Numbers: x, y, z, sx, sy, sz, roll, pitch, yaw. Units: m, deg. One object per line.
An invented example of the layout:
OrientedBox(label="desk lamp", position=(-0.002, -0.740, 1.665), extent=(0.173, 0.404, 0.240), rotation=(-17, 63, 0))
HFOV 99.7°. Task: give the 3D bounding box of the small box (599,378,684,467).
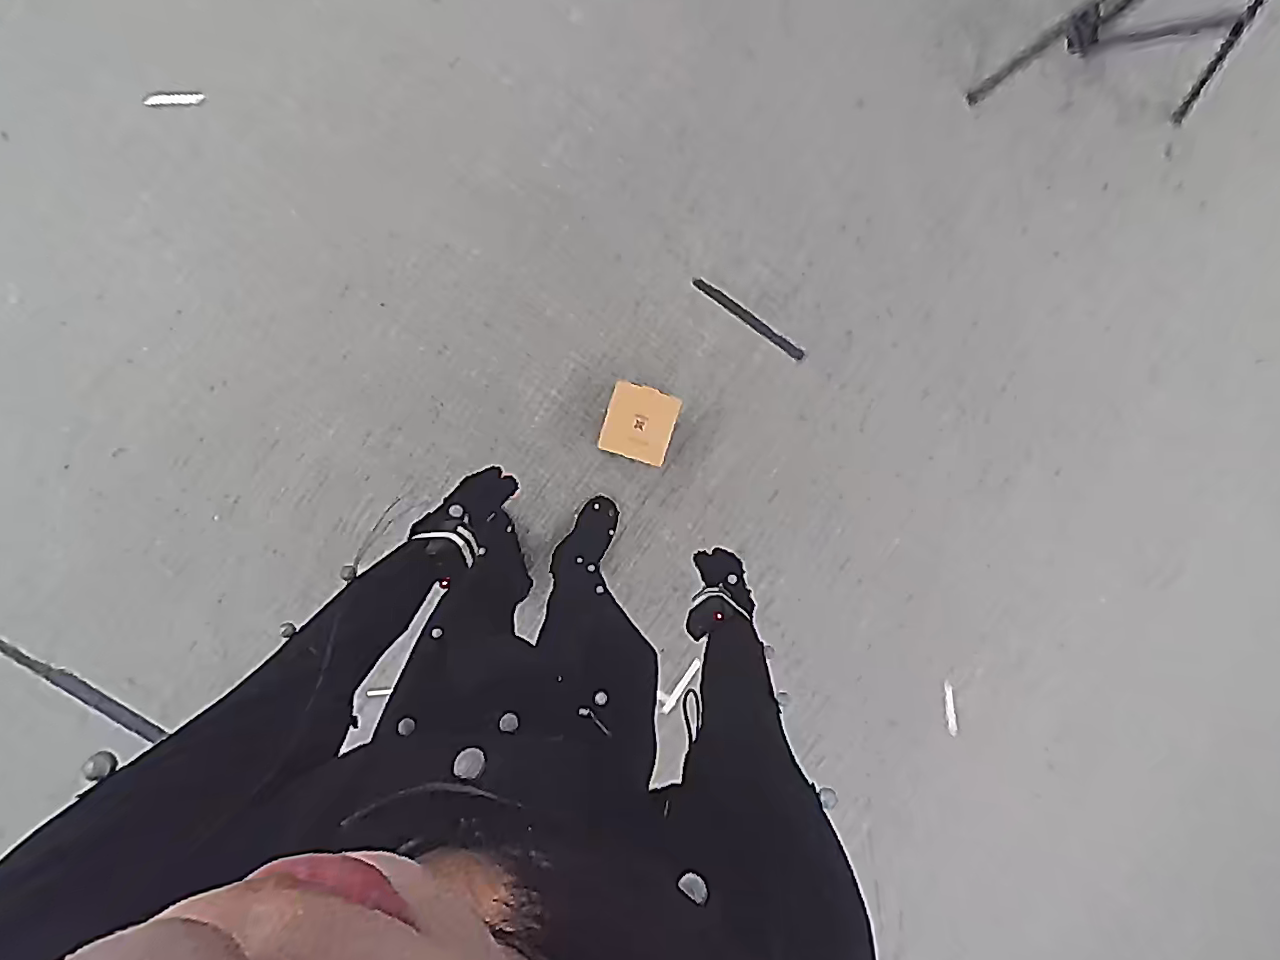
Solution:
OrientedBox(label="small box", position=(-0.001, -0.143, 1.366), extent=(0.168, 0.176, 0.179), rotation=(17, 94, -3))
